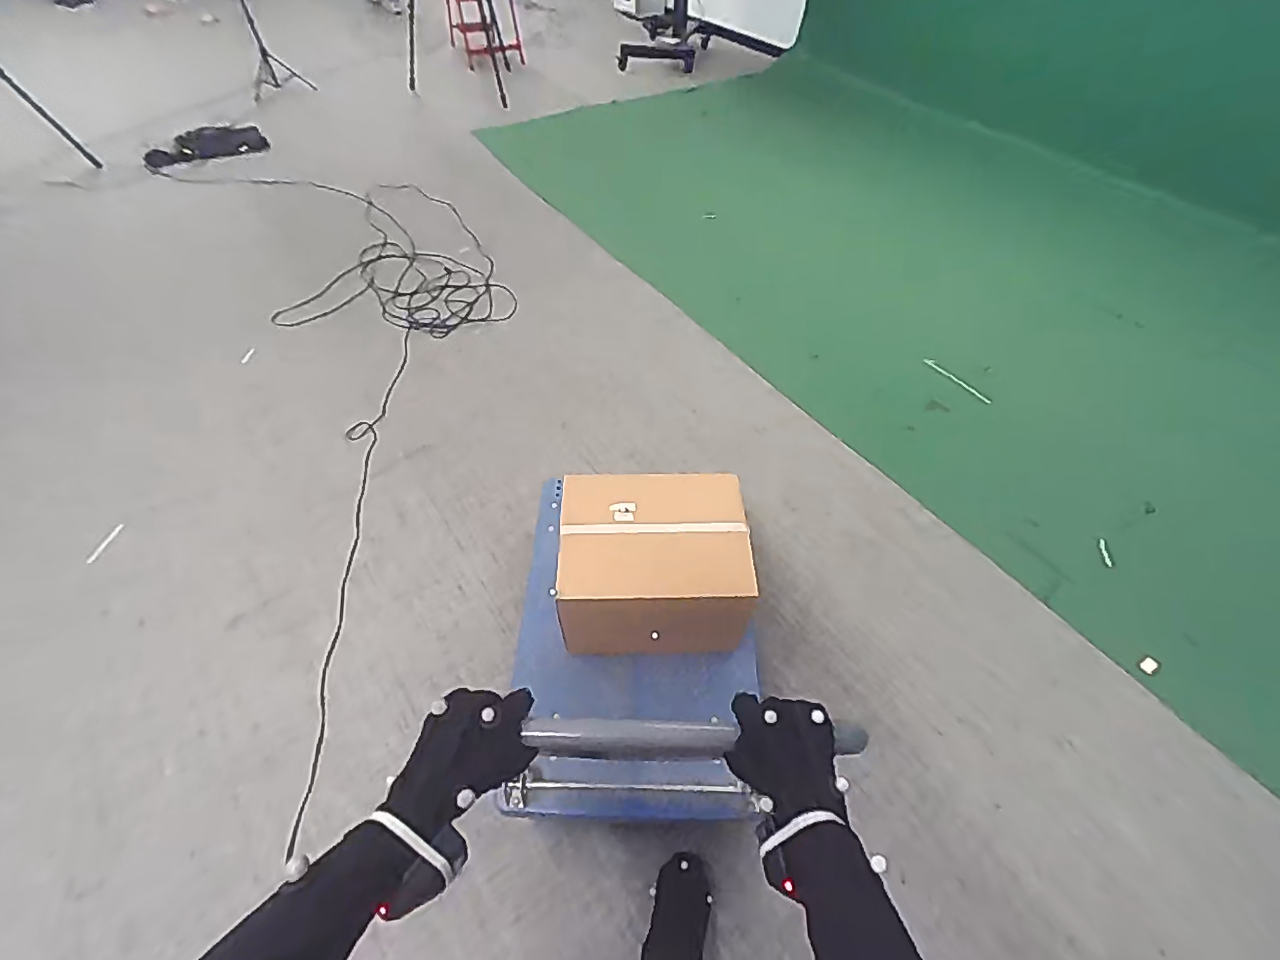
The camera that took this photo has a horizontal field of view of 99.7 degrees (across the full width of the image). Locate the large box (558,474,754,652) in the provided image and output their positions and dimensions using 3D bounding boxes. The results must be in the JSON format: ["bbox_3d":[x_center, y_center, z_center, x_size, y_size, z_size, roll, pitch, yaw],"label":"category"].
[{"bbox_3d":[0.026,0.204,1.291,0.408,0.320,0.320,-2,52,-2],"label":"large box"}]
